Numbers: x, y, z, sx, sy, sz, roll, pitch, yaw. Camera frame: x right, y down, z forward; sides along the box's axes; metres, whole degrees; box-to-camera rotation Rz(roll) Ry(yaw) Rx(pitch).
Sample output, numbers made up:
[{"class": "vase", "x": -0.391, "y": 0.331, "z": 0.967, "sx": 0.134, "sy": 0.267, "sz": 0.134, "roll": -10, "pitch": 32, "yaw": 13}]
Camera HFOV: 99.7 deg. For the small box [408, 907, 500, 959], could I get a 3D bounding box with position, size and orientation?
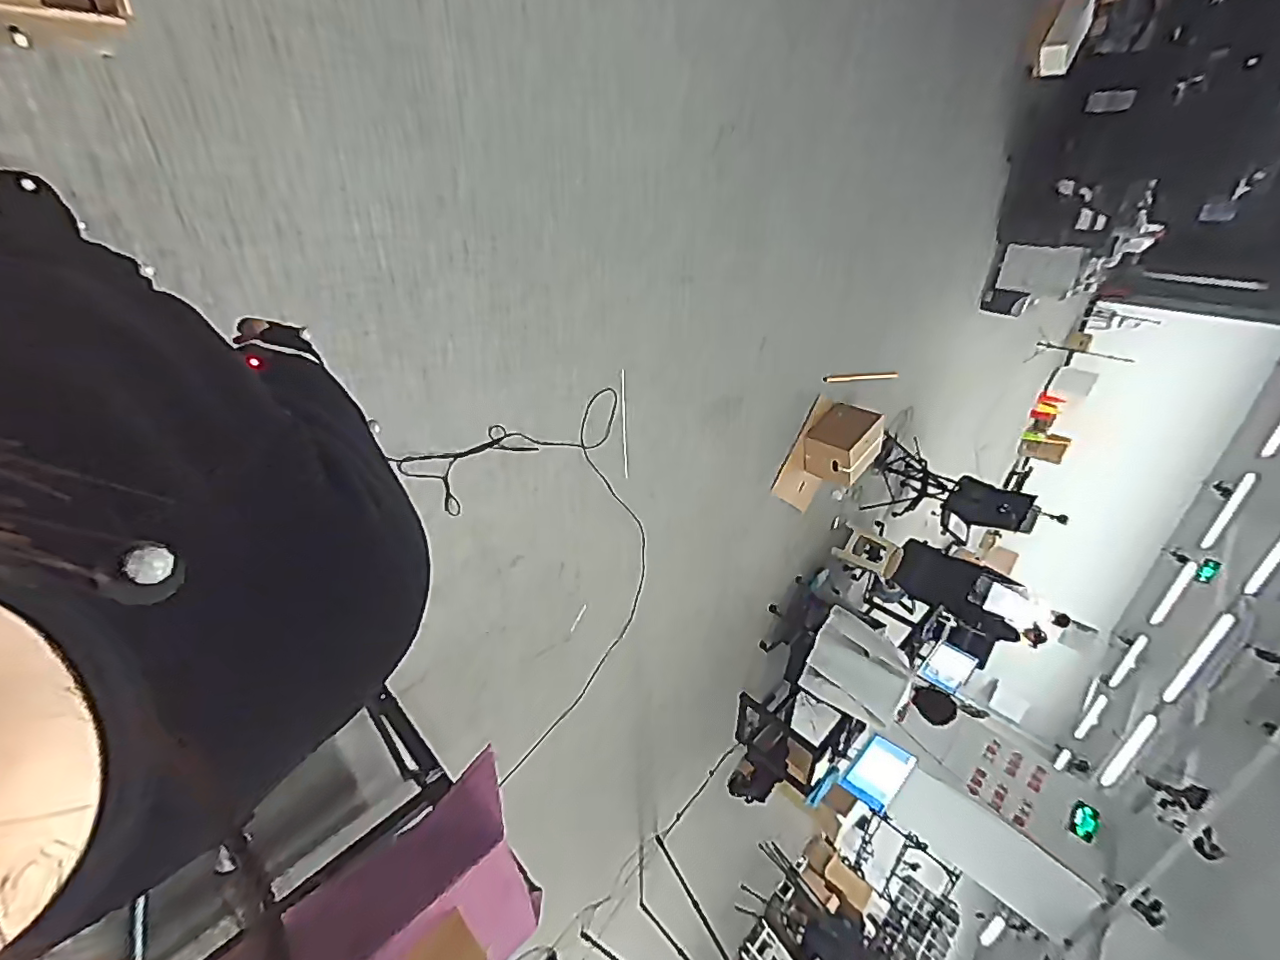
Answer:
[{"class": "small box", "x": -0.445, "y": 1.206, "z": 1.318, "sx": 0.179, "sy": 0.176, "sz": 0.168, "roll": -27, "pitch": 130, "yaw": -34}]
